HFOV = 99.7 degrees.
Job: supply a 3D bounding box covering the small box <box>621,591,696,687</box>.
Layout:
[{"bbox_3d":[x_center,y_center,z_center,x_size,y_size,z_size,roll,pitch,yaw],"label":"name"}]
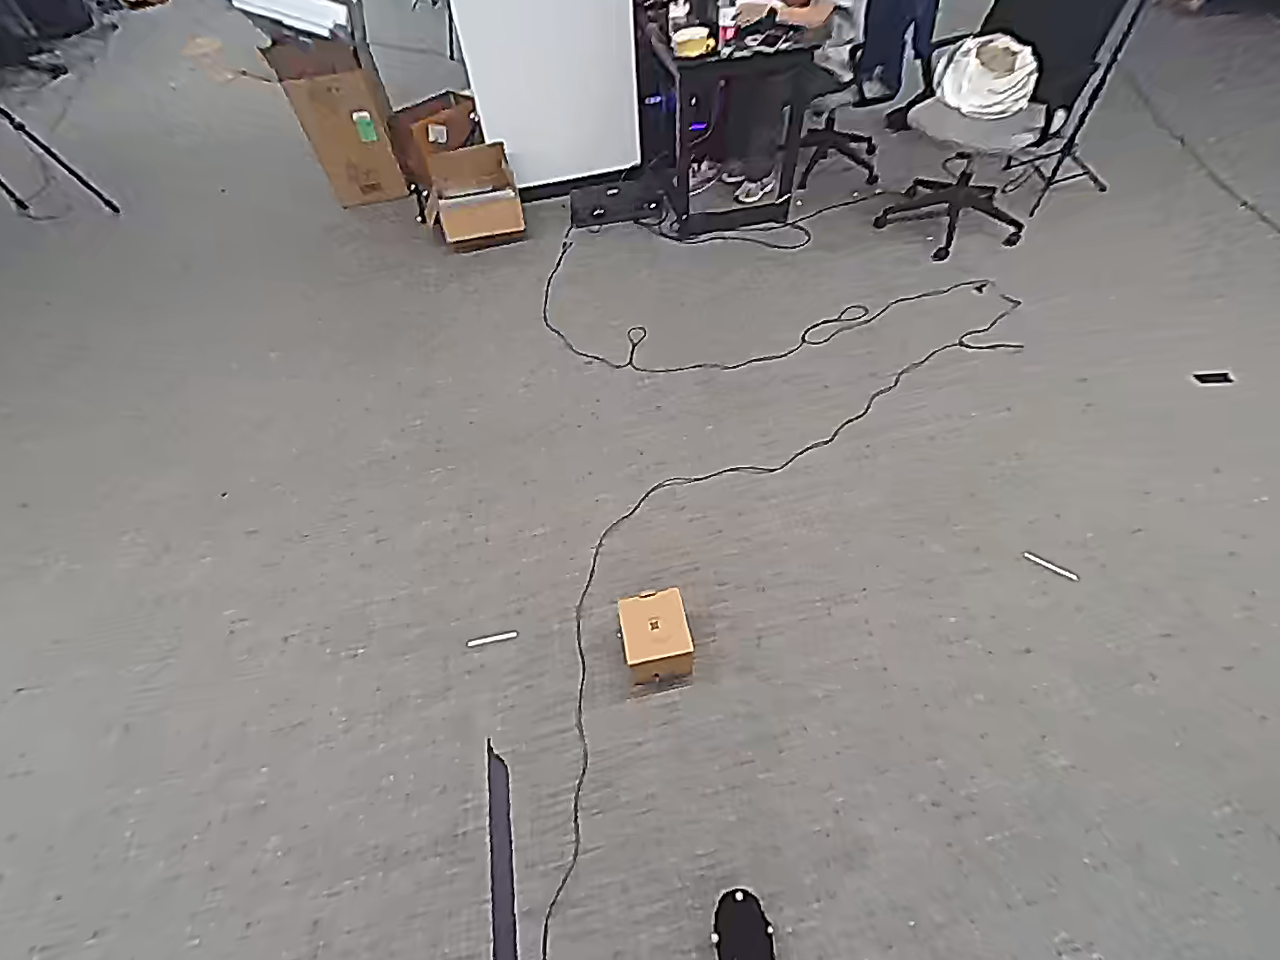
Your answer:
[{"bbox_3d":[0.046,0.418,1.416,0.168,0.176,0.179,-11,54,-2],"label":"small box"}]
